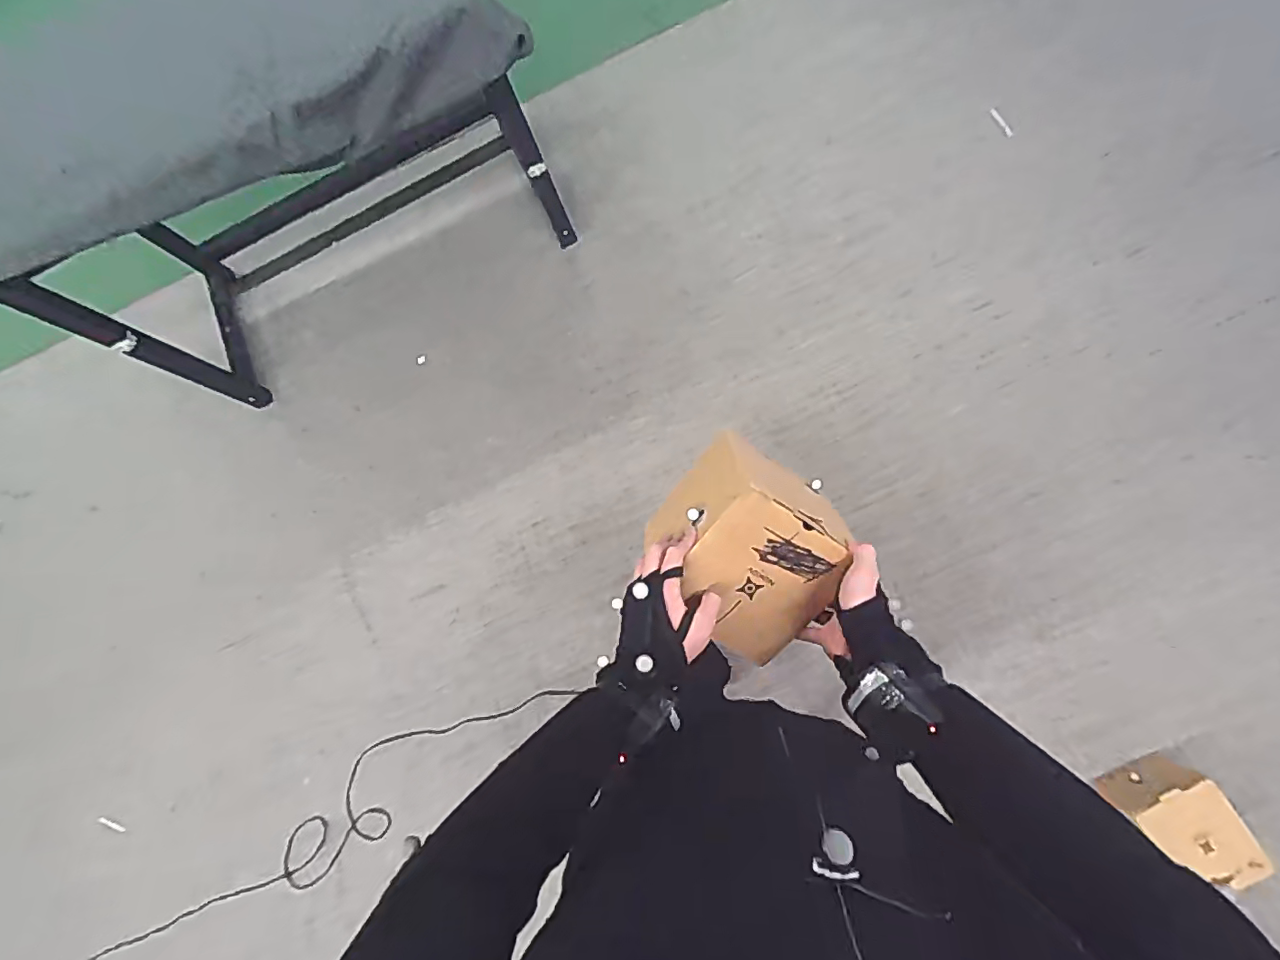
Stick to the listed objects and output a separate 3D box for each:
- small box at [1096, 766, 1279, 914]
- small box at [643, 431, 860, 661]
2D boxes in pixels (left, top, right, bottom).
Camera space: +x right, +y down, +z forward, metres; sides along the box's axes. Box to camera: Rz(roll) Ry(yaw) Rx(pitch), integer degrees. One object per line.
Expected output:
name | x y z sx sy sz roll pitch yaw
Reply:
small box | 1.075 0.695 1.073 0.168 0.176 0.179 -28 73 4
small box | 0.116 0.069 0.641 0.168 0.176 0.179 32 112 -12
